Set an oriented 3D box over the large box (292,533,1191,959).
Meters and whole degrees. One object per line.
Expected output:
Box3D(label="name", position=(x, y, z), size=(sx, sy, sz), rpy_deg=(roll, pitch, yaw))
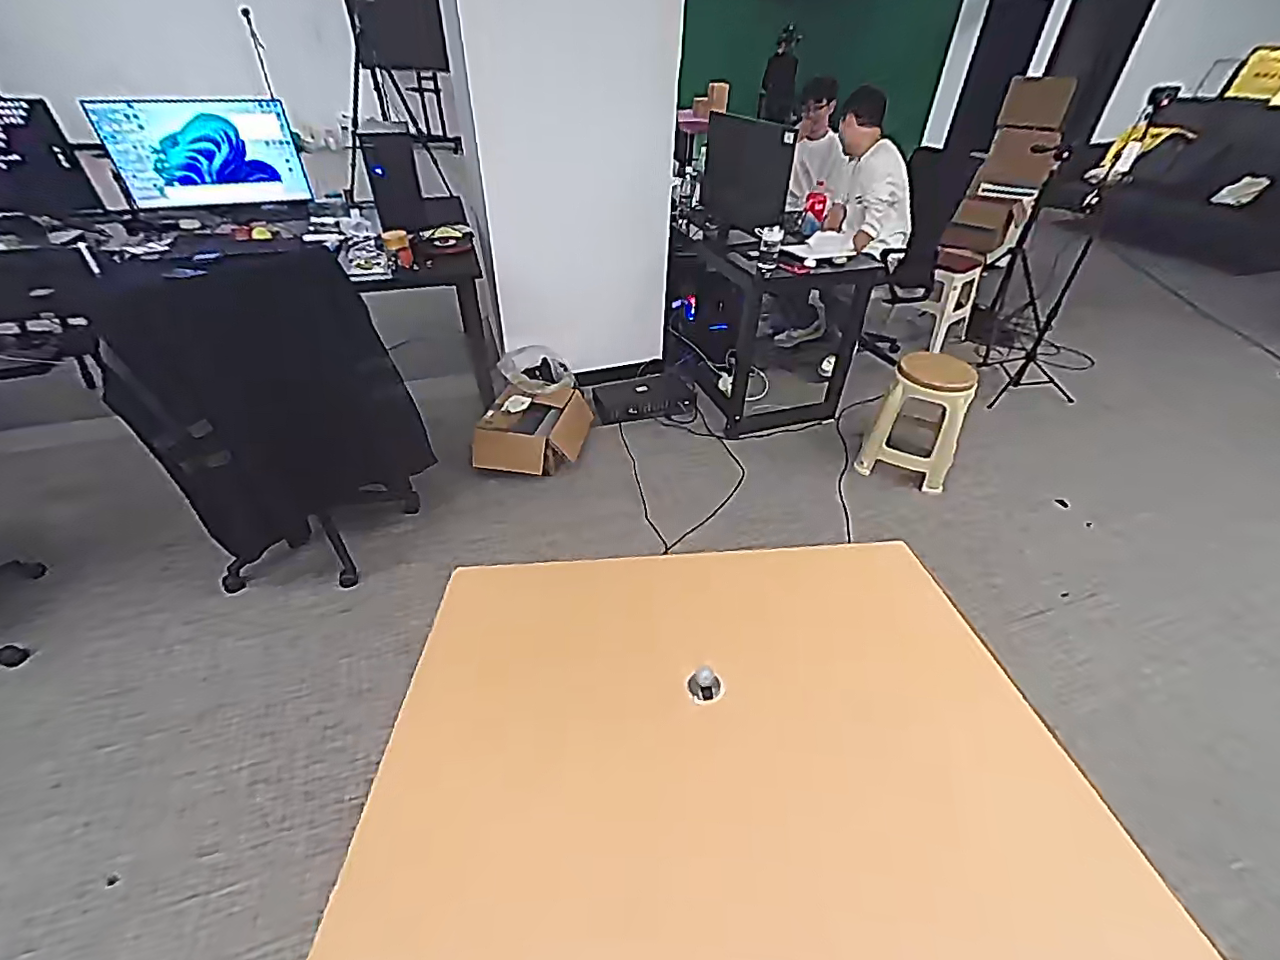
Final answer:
Box3D(label="large box", position=(0.037, 0.269, 0.429), size=(0.408, 0.320, 0.320), rpy_deg=(-6, 33, -1))
